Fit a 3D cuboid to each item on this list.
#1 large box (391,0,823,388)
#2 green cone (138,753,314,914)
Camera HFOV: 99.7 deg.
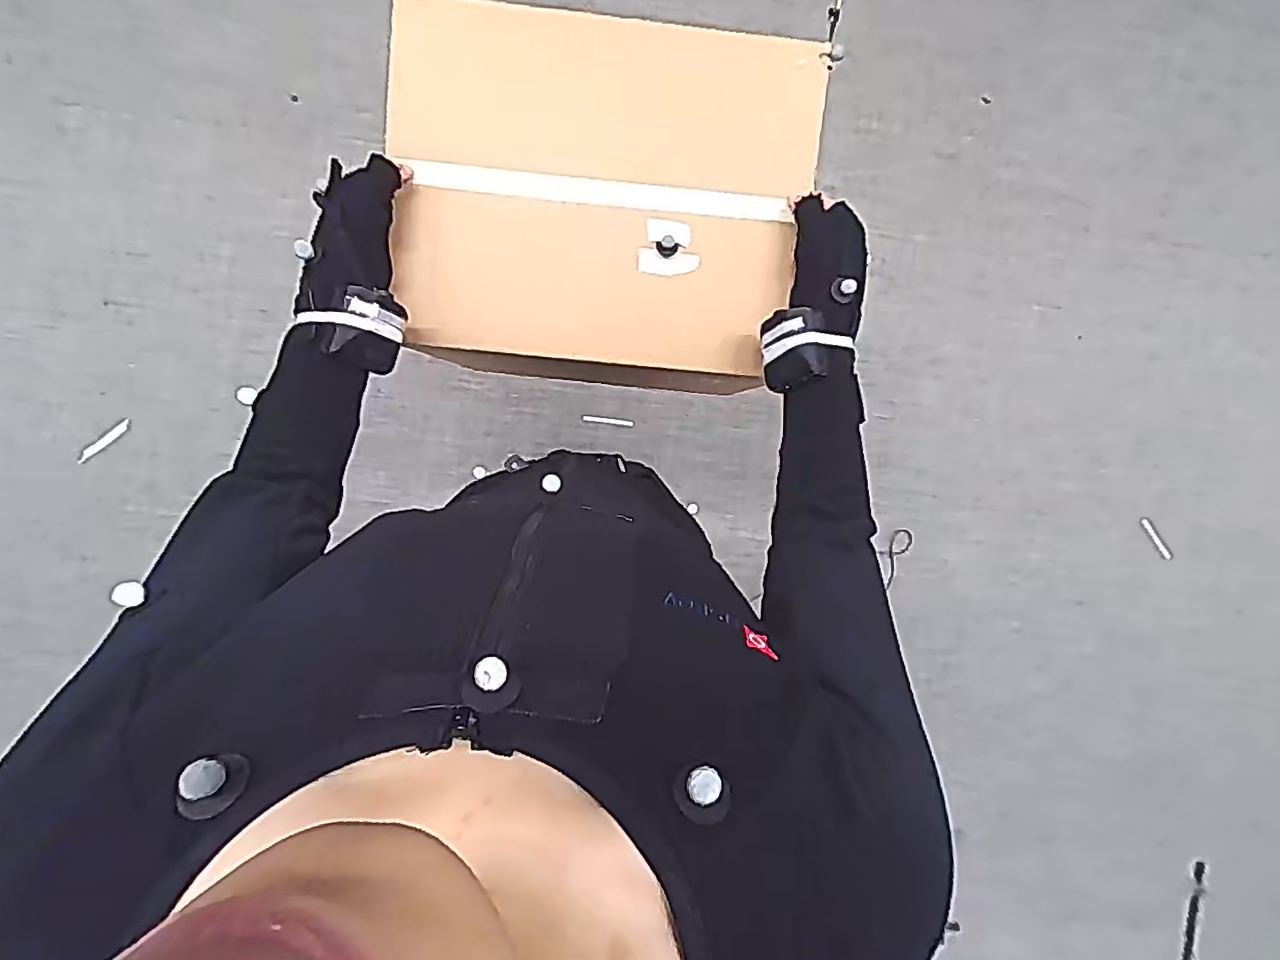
[{"bbox_3d":[-0.041,-0.293,0.666,0.408,0.320,0.320,5,96,-3],"label":"large box"},{"bbox_3d":[-0.999,0.856,1.276,0.202,0.368,0.200,-31,91,0],"label":"green cone"}]
